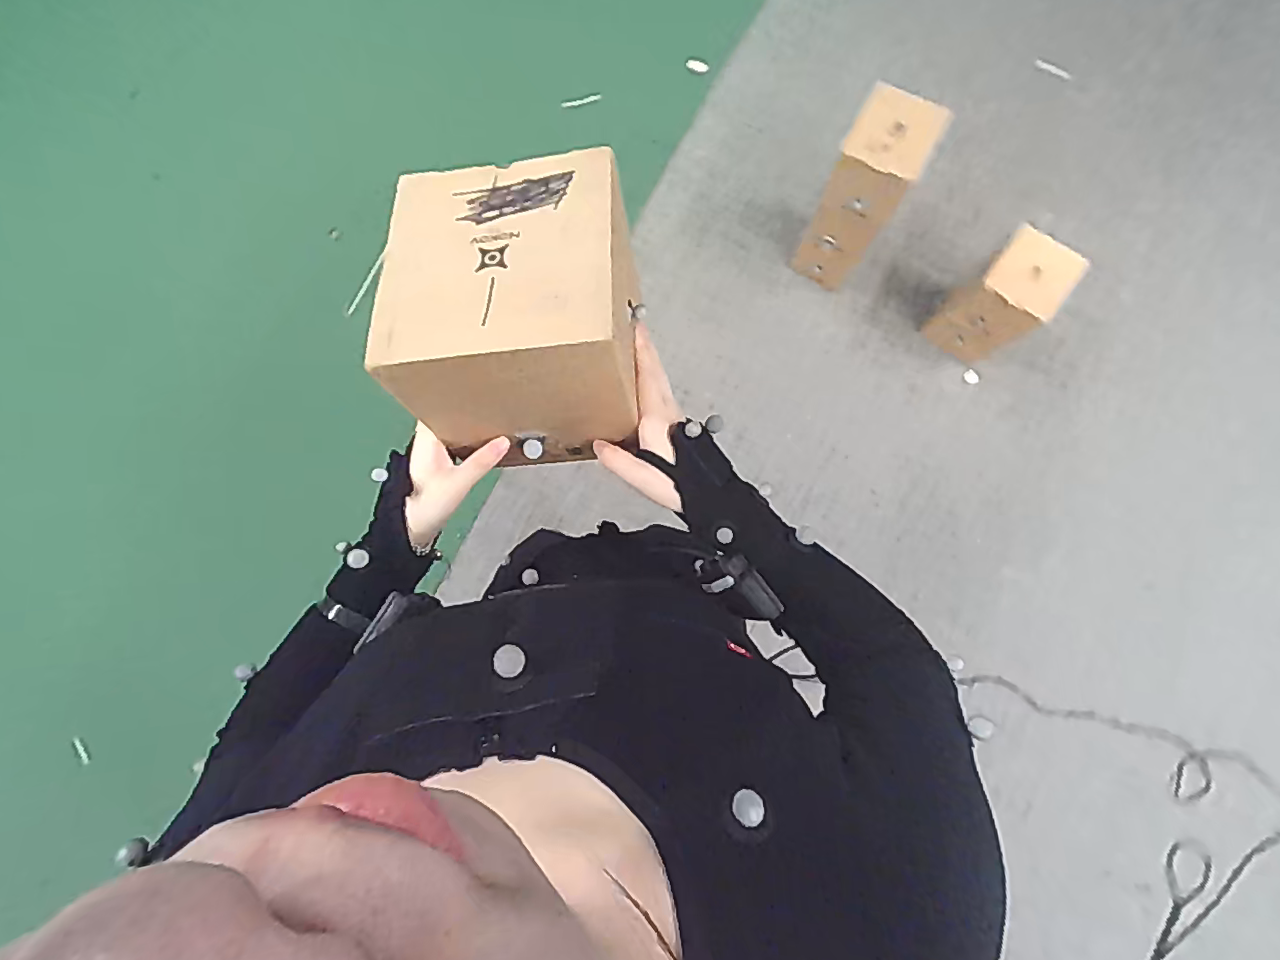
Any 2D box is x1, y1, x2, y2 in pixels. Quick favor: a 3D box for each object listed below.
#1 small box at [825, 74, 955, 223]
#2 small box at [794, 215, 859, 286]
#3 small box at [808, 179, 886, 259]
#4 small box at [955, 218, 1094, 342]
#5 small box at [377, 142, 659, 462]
[{"bbox_3d":[0.516,-0.691,1.145,0.168,0.176,0.179,28,87,8],"label":"small box"},{"bbox_3d":[0.537,-0.664,1.471,0.168,0.176,0.179,31,88,6],"label":"small box"},{"bbox_3d":[0.528,-0.678,1.309,0.168,0.176,0.179,28,88,7],"label":"small box"},{"bbox_3d":[0.881,-0.458,1.261,0.168,0.176,0.179,35,88,7],"label":"small box"},{"bbox_3d":[-0.075,-0.129,0.437,0.168,0.176,0.179,-3,67,7],"label":"small box"}]
